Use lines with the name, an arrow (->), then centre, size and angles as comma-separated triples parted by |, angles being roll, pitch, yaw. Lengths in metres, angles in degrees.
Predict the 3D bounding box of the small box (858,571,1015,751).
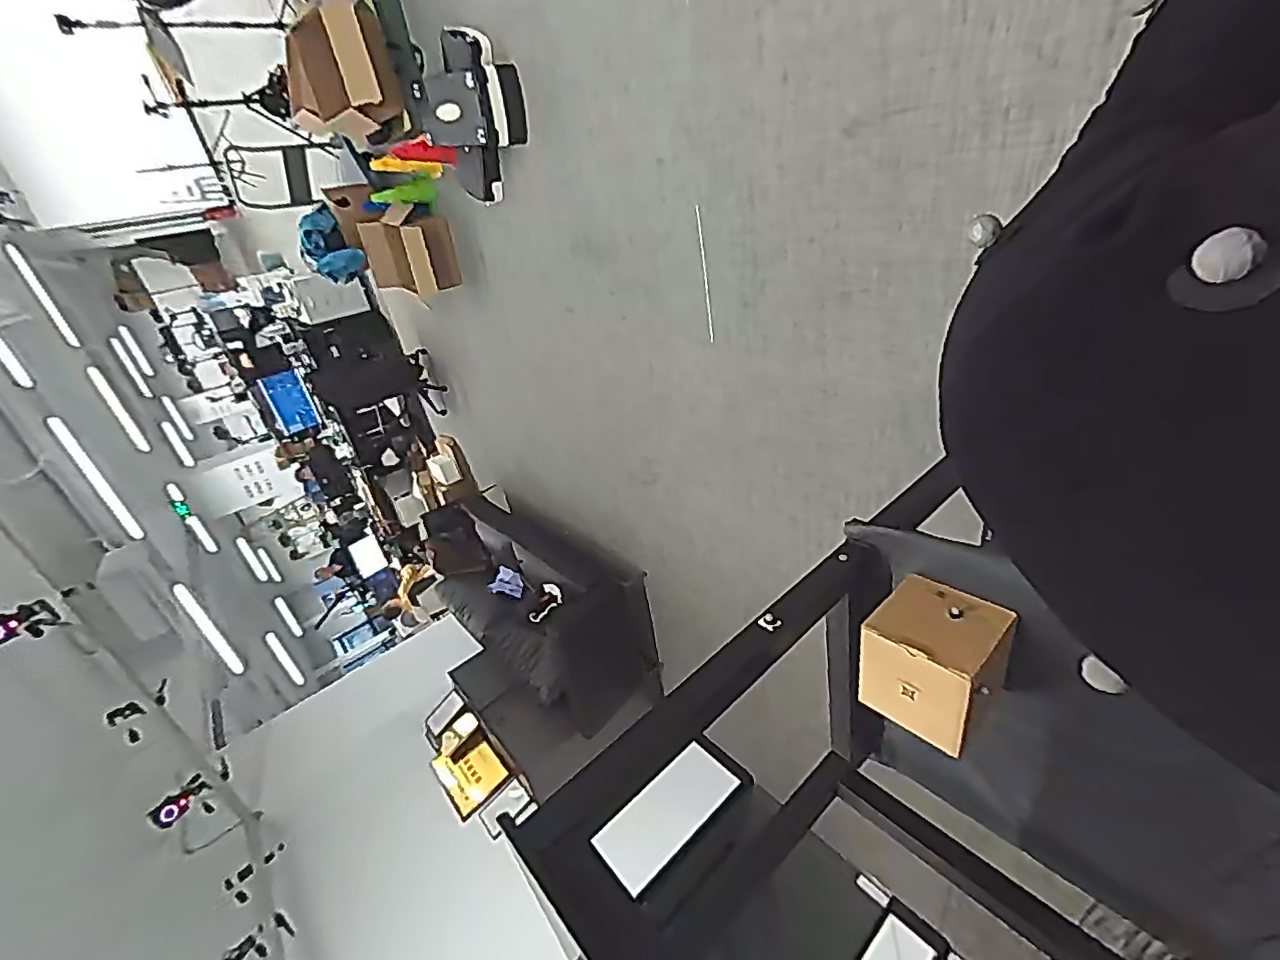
small box -> 0.476, 0.282, 0.875 | 0.168, 0.176, 0.179 | 22, 132, 47
